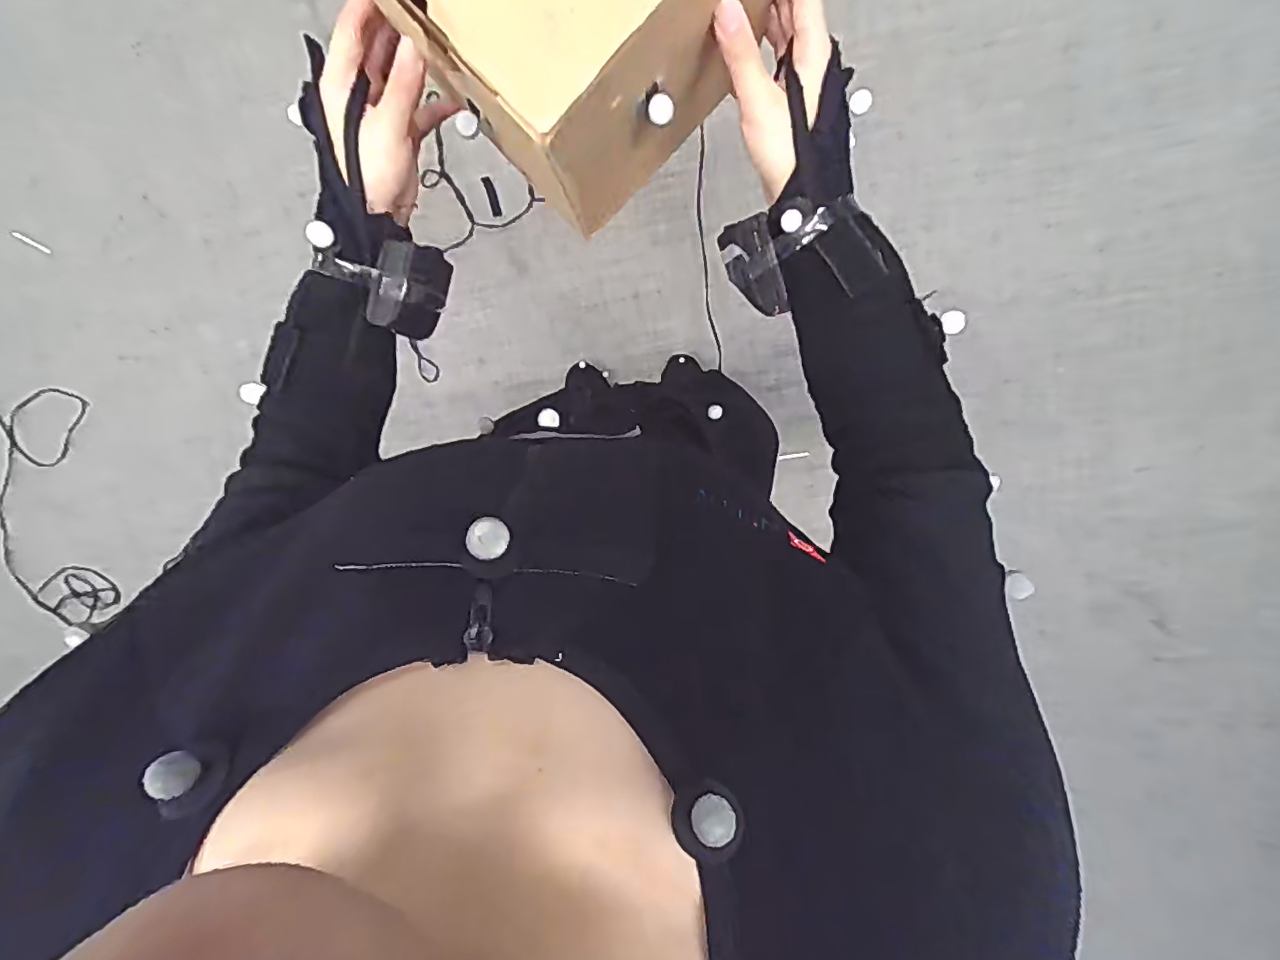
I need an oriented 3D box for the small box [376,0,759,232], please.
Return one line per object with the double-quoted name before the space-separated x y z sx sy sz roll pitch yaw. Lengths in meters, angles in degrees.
"small box" -0.038 -0.285 0.321 0.168 0.176 0.179 45 99 -5
